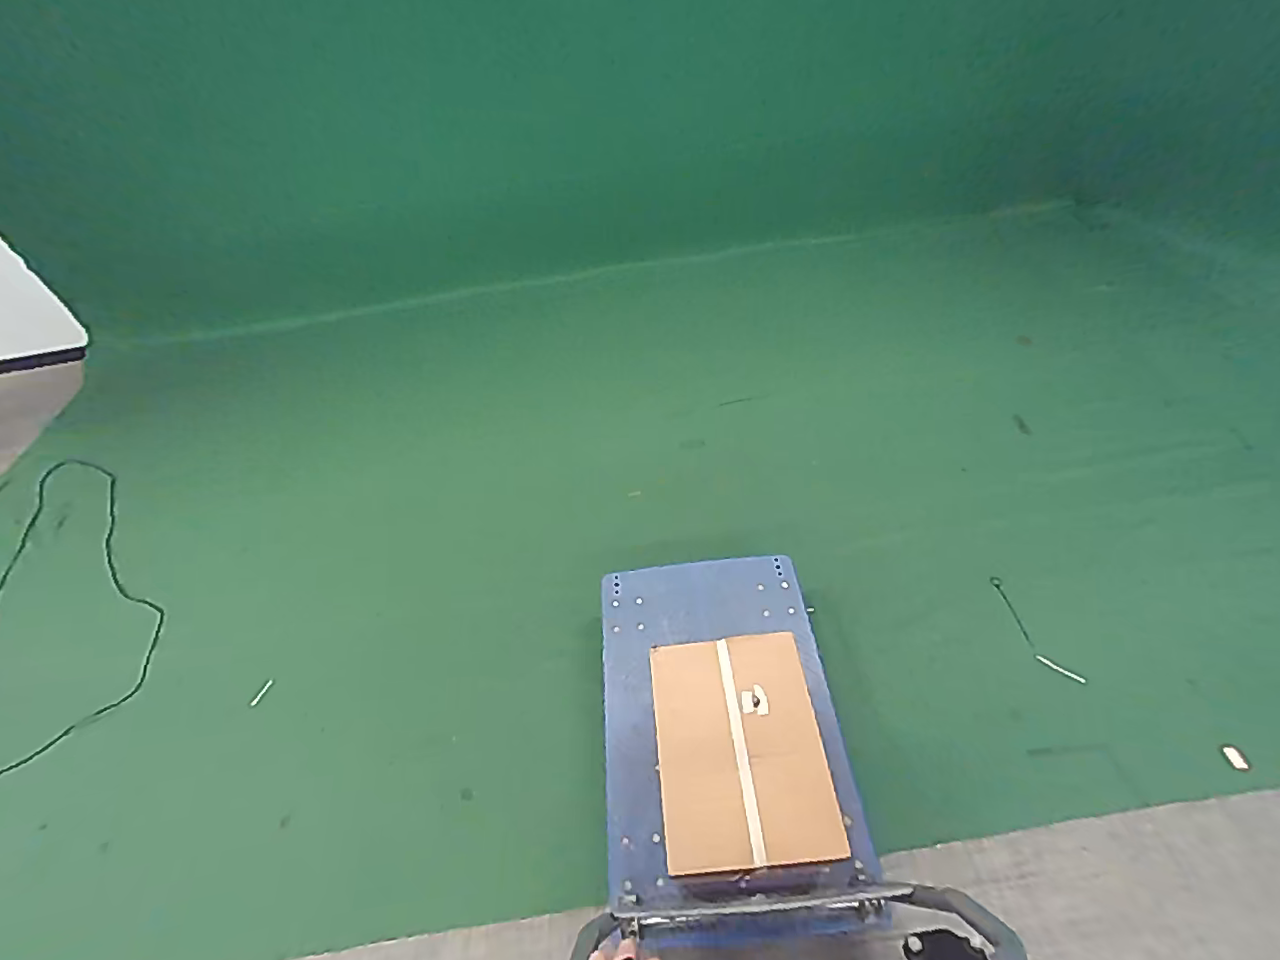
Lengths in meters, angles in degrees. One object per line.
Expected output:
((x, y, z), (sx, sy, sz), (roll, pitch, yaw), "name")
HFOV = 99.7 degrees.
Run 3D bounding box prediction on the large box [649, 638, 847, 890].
((0.206, 0.608, 1.162), (0.320, 0.320, 0.408), (-7, 50, 2), "large box")
